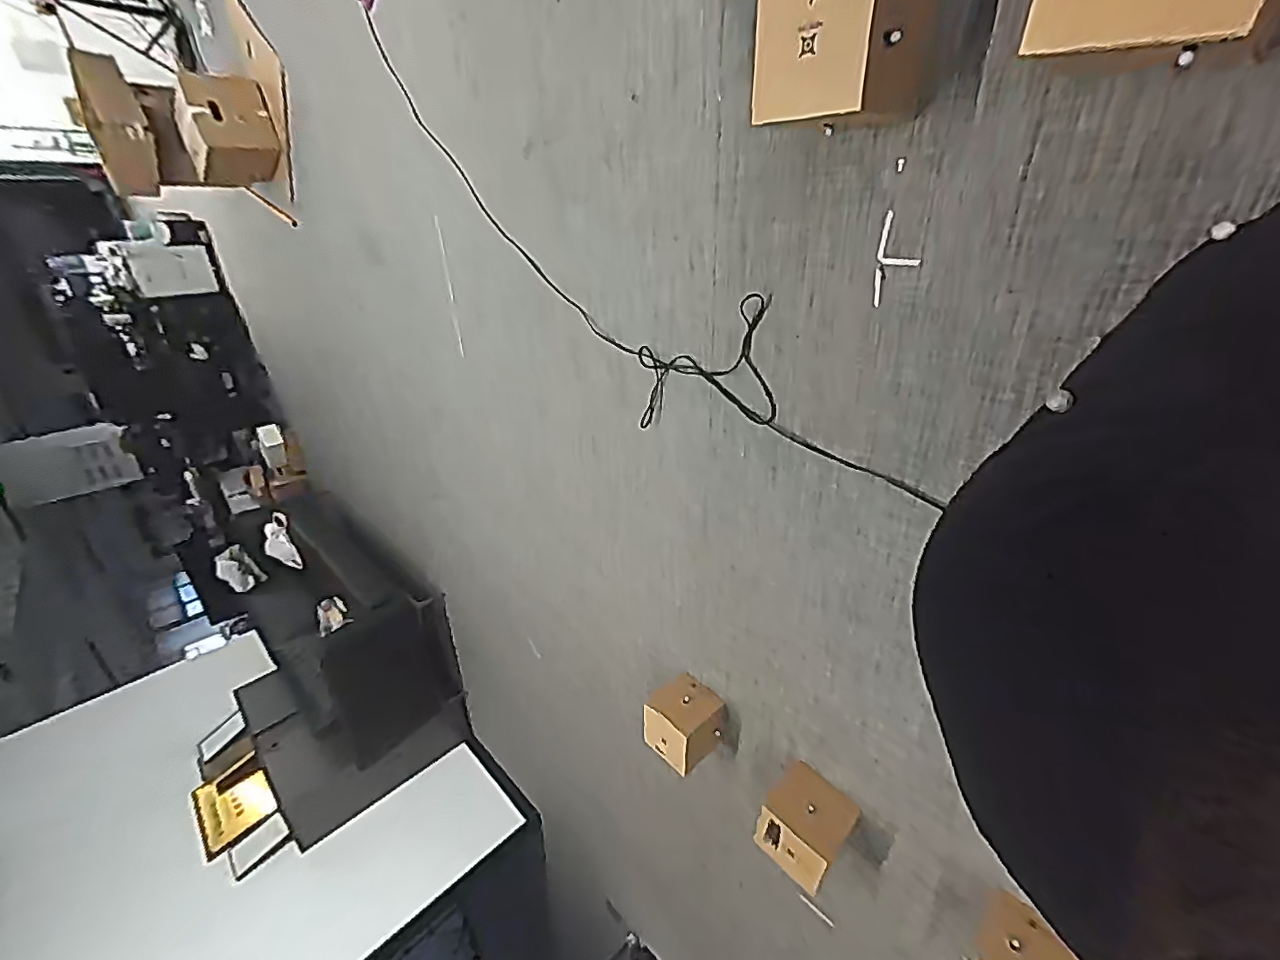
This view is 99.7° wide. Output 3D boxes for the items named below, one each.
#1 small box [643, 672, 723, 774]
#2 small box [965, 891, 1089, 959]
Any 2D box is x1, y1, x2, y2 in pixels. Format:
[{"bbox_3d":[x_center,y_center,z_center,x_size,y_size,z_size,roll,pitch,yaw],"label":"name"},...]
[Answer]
[{"bbox_3d":[0.127,0.706,1.592,0.168,0.176,0.179,27,127,40],"label":"small box"},{"bbox_3d":[0.721,0.940,1.021,0.168,0.176,0.179,23,126,42],"label":"small box"}]
